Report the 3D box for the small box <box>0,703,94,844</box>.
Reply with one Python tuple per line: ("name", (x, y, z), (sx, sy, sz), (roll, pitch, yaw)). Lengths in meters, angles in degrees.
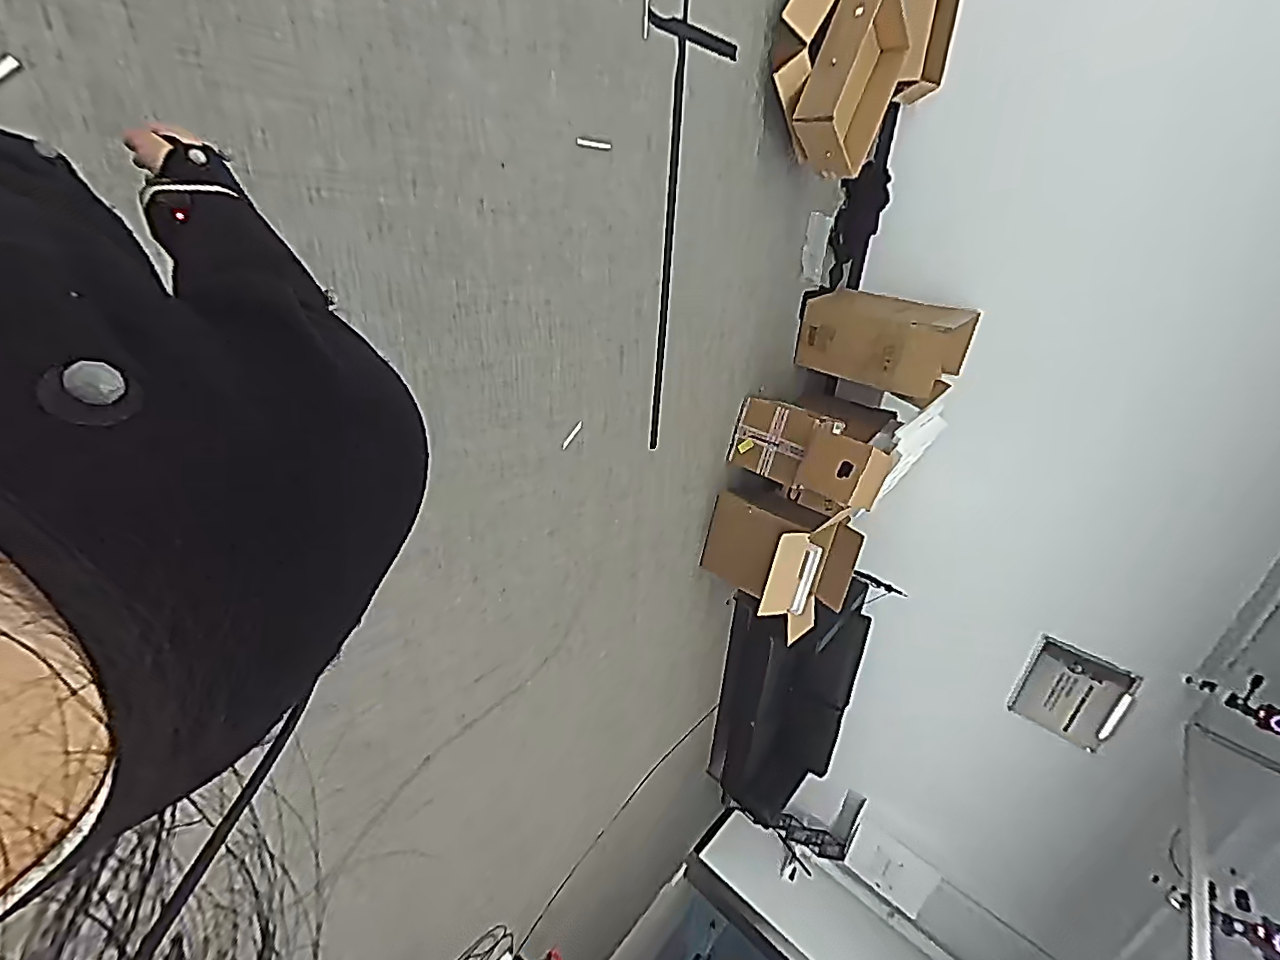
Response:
("small box", (-1.330, 0.625, 1.165), (0.168, 0.176, 0.179), (-26, 130, -42))
